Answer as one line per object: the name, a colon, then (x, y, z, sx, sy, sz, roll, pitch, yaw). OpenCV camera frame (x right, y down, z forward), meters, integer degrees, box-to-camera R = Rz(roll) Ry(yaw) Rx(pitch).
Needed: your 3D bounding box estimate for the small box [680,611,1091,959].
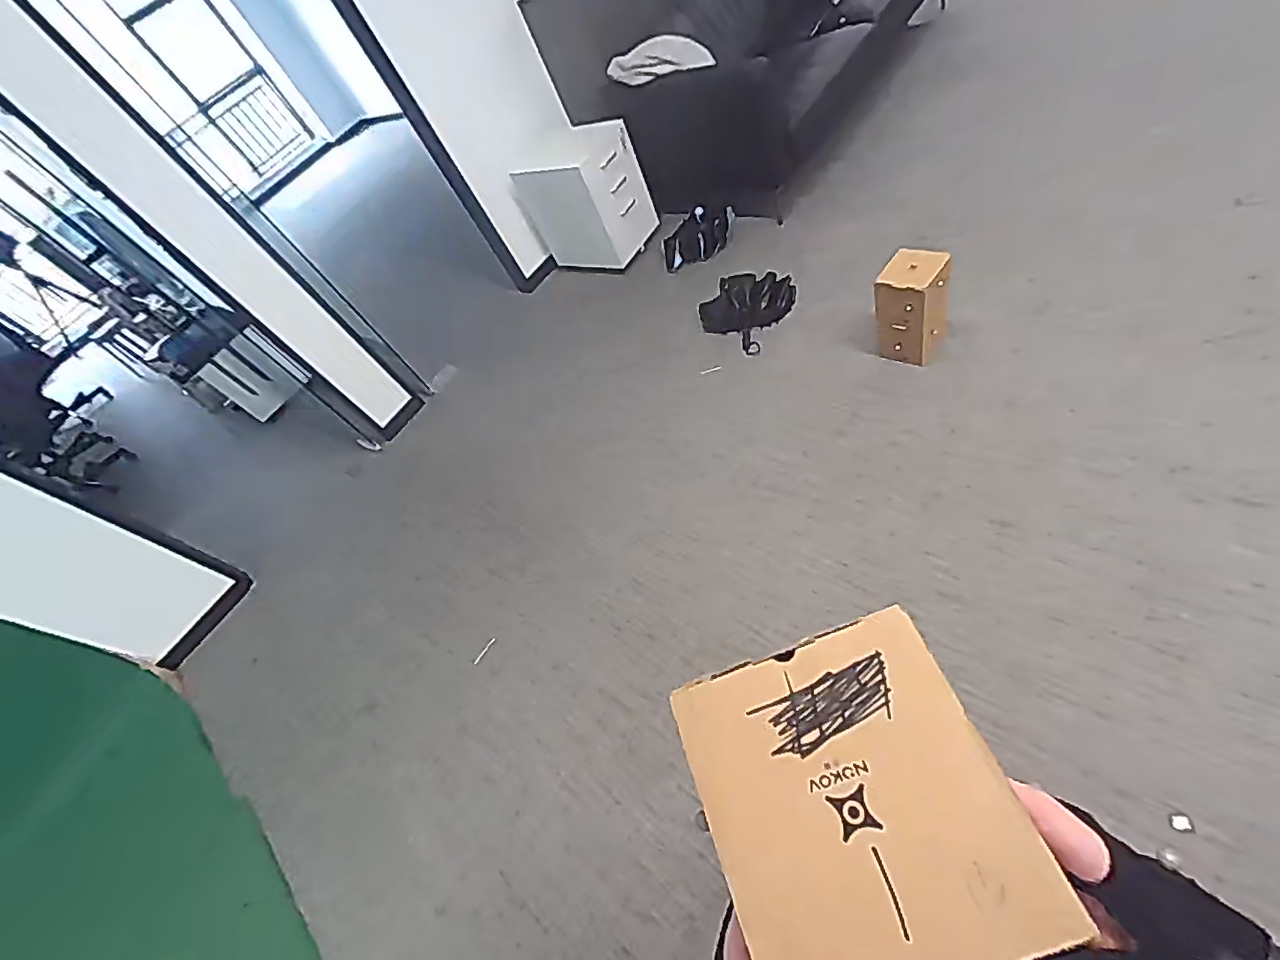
small box: (0.142, 0.220, 0.380, 0.168, 0.176, 0.179, -22, 58, 4)
